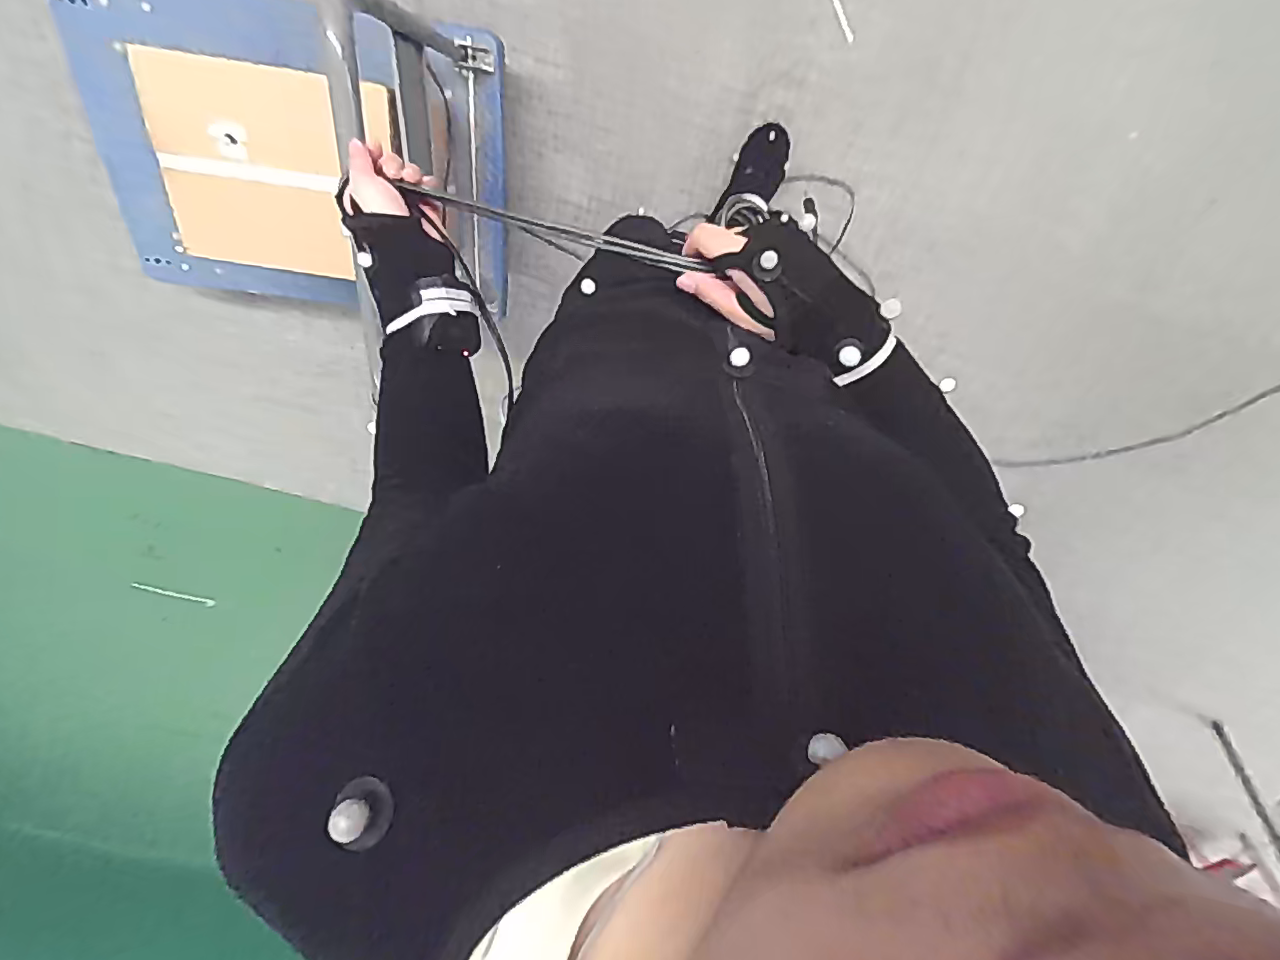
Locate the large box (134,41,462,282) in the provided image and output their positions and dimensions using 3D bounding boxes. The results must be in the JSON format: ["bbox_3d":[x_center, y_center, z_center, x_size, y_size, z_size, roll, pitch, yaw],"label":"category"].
[{"bbox_3d":[-0.593,-0.598,1.037,0.408,0.320,0.320,8,121,-2],"label":"large box"}]
